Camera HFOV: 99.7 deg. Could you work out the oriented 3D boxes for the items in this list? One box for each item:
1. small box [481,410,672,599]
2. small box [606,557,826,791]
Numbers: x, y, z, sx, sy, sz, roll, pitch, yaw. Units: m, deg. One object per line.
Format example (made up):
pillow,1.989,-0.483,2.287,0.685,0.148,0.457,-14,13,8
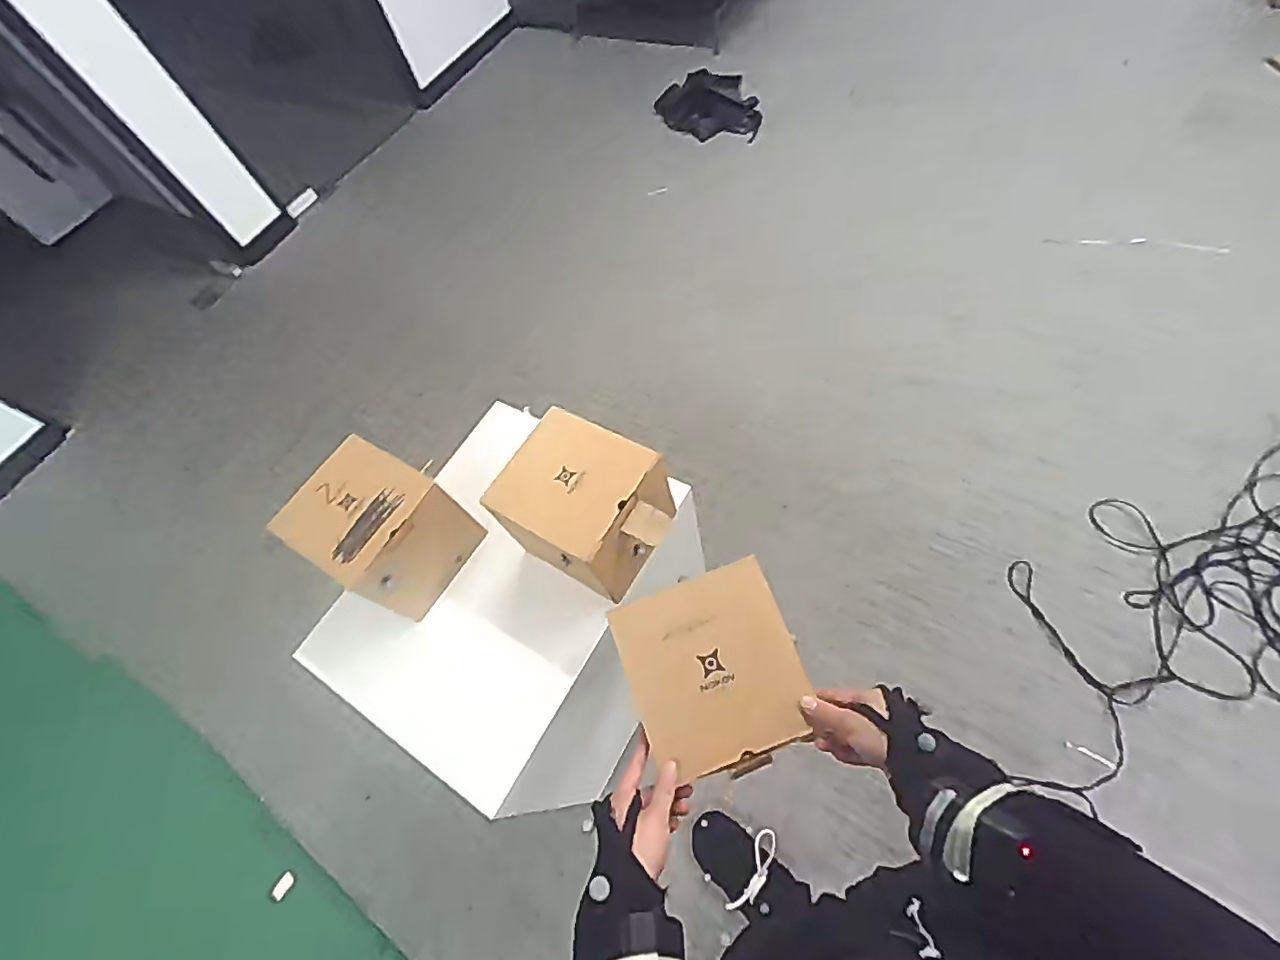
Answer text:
small box,-0.075,0.039,0.739,0.179,0.176,0.168,25,69,23
small box,0.075,0.203,0.595,0.168,0.176,0.179,-20,72,-3
